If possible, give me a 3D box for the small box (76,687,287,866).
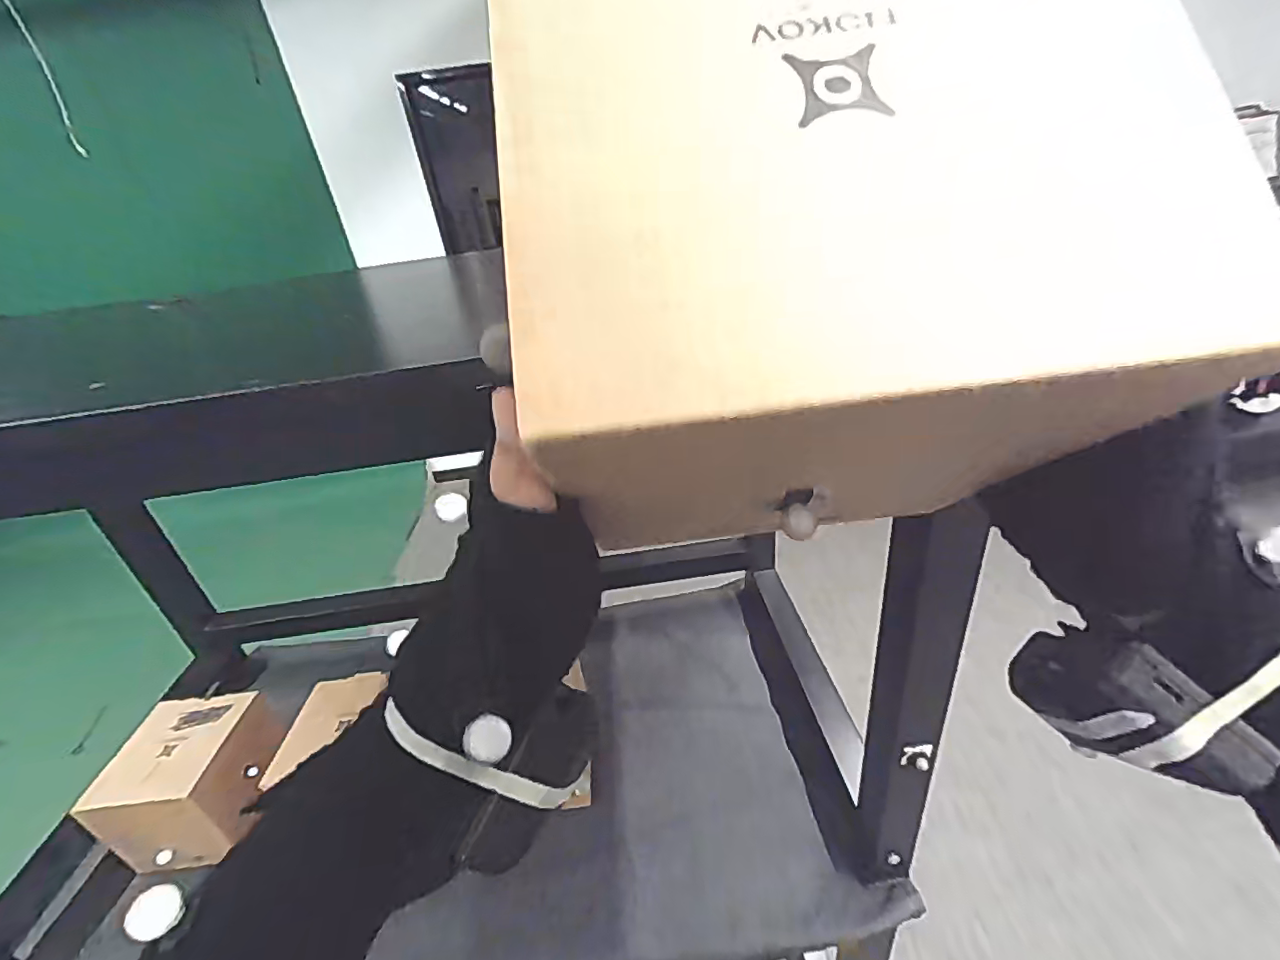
[{"bbox_3d":[-0.679,0.456,0.840,0.168,0.176,0.179,-7,30,1],"label":"small box"}]
